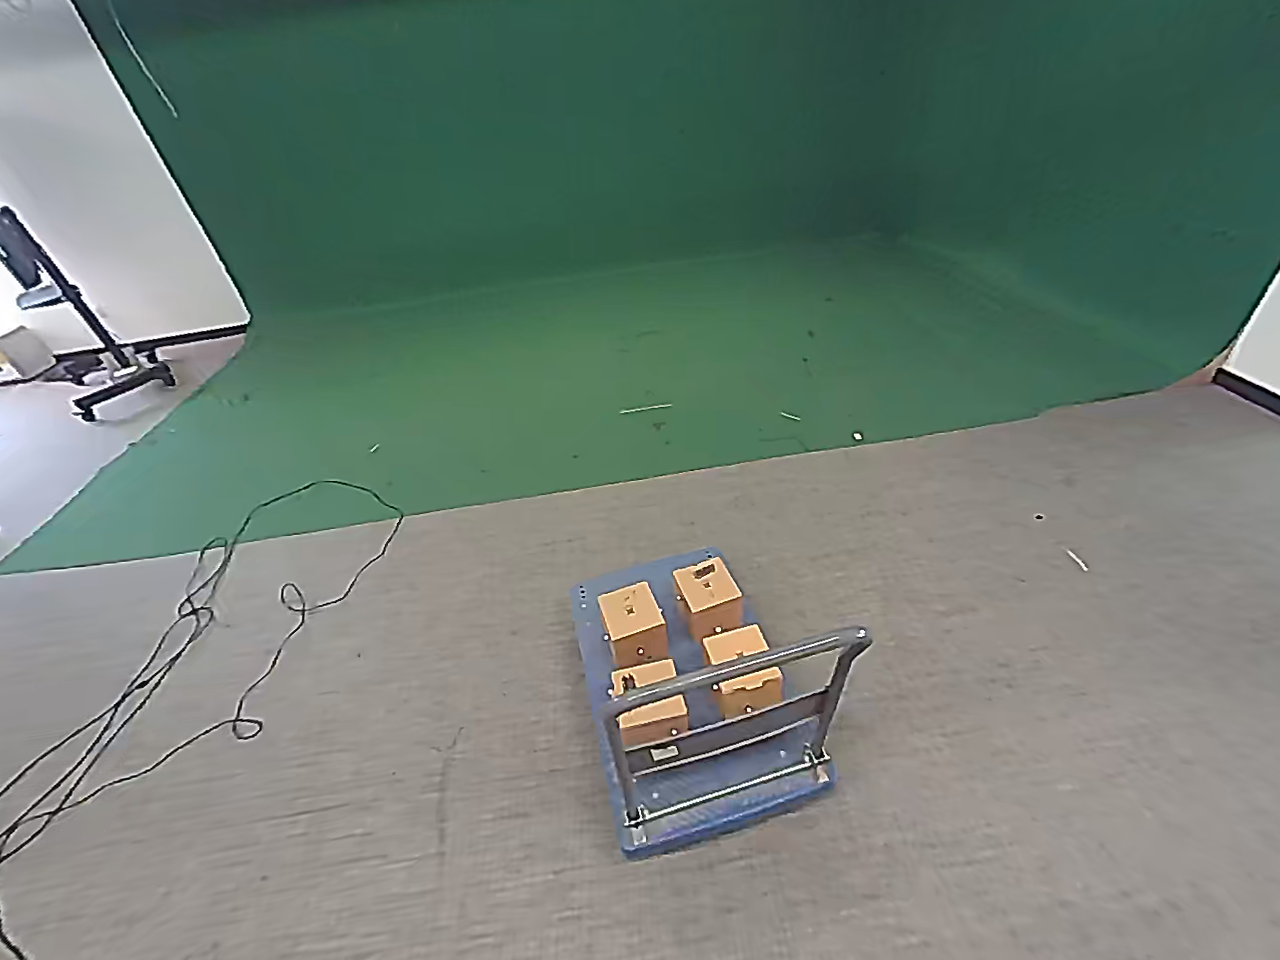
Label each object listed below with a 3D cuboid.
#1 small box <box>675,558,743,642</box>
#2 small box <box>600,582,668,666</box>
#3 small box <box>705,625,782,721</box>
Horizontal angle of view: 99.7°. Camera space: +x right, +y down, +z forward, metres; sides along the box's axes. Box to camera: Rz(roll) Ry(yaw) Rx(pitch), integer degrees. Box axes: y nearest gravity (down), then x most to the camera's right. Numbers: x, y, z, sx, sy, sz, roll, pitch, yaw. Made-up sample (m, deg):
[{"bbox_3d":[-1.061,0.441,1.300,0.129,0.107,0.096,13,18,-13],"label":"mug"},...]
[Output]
[{"bbox_3d":[0.220,0.389,1.747,0.168,0.176,0.179,-17,41,-9],"label":"small box"},{"bbox_3d":[-0.017,0.460,1.702,0.168,0.176,0.179,-16,39,-11],"label":"small box"},{"bbox_3d":[0.288,0.550,1.541,0.168,0.176,0.179,-13,40,-7],"label":"small box"}]
